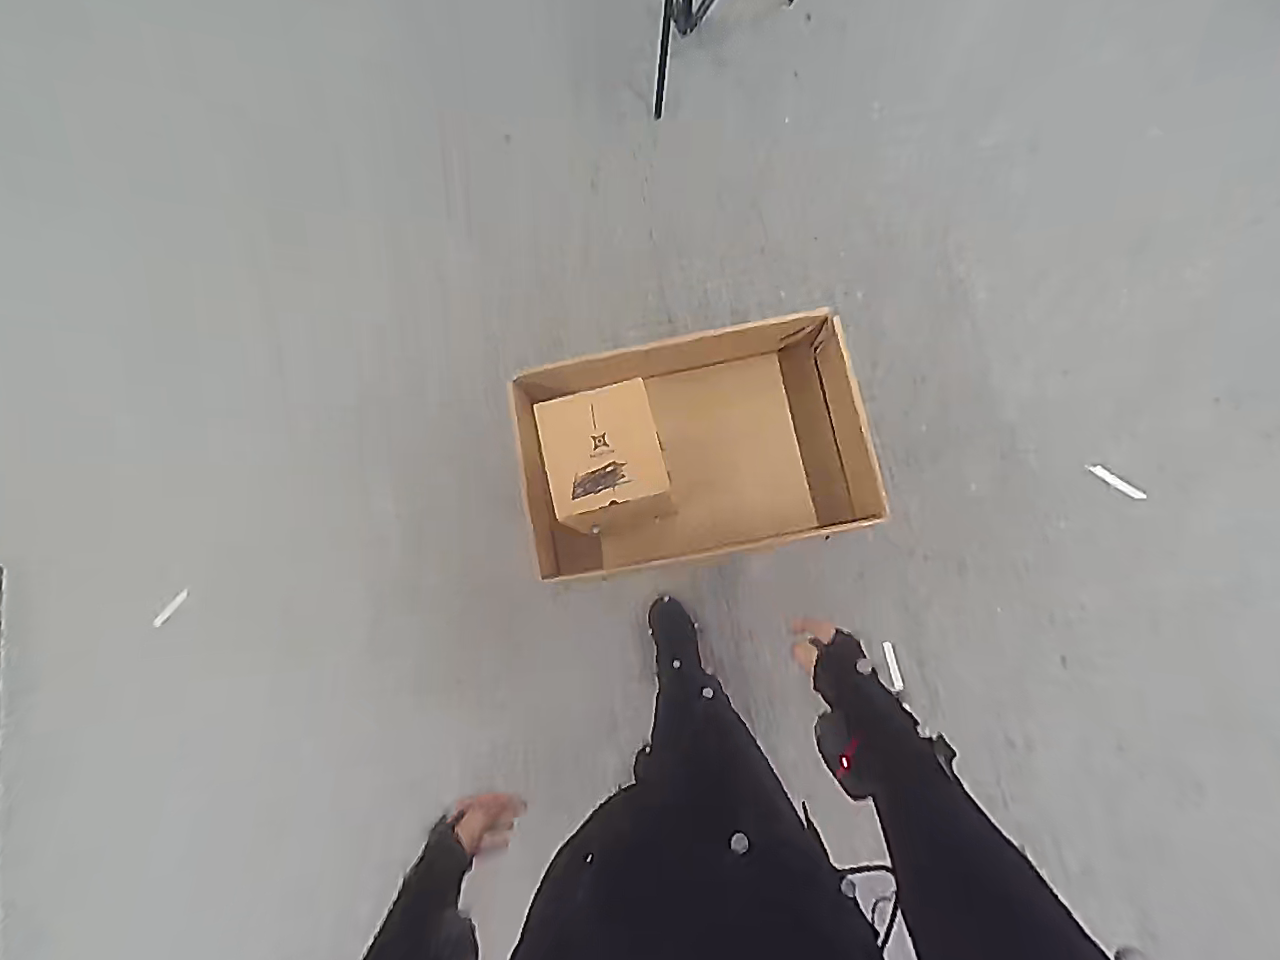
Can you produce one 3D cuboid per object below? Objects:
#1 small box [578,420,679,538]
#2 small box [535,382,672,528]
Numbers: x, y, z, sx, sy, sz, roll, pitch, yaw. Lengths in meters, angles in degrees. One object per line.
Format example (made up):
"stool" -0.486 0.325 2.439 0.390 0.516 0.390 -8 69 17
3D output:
"small box" -0.032 0.005 1.002 0.179 0.176 0.168 -15 79 2
"small box" -0.048 -0.027 0.842 0.168 0.176 0.179 -14 78 1
